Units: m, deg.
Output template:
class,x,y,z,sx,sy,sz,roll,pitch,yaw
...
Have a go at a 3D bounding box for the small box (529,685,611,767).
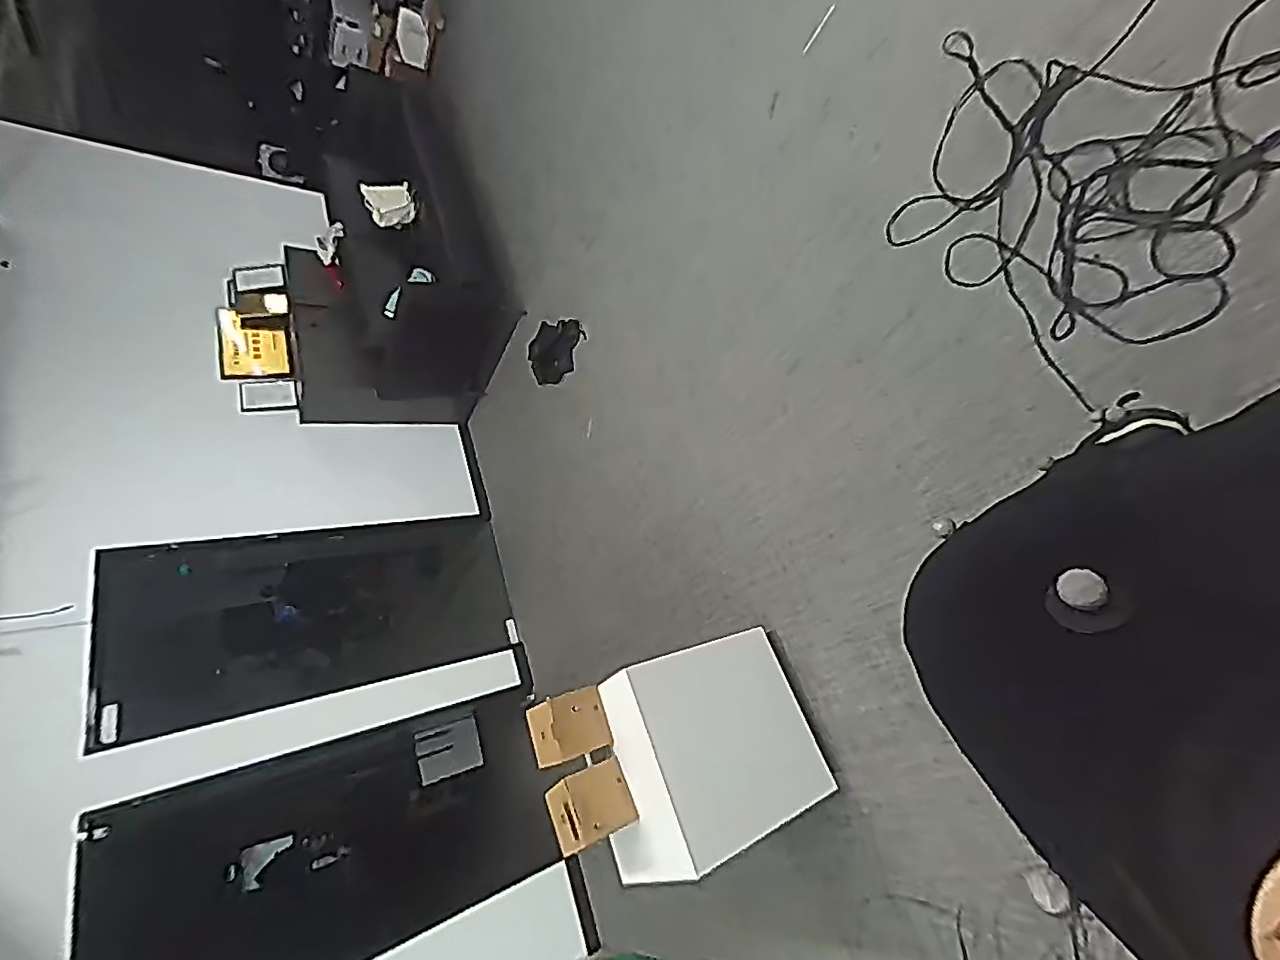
class,x,y,z,sx,sy,sz,roll,pitch,yaw
small box,-0.199,0.717,1.581,0.179,0.176,0.168,-45,56,46
